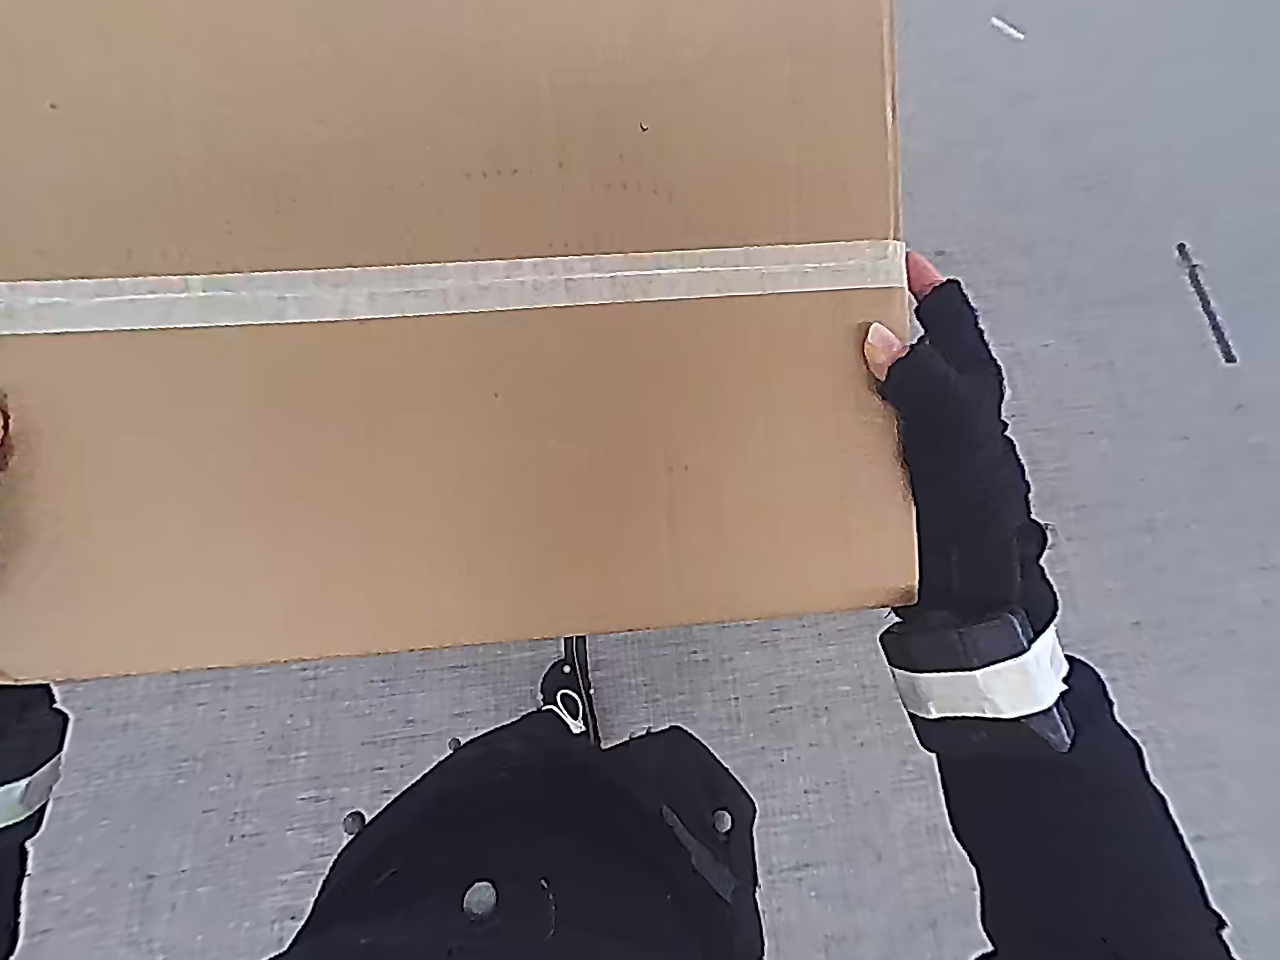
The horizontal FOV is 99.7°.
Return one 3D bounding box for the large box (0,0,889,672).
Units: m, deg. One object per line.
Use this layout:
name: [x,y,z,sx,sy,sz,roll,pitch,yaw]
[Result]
large box: [-0.092,-0.090,0.393,0.408,0.320,0.320,-4,93,-4]
